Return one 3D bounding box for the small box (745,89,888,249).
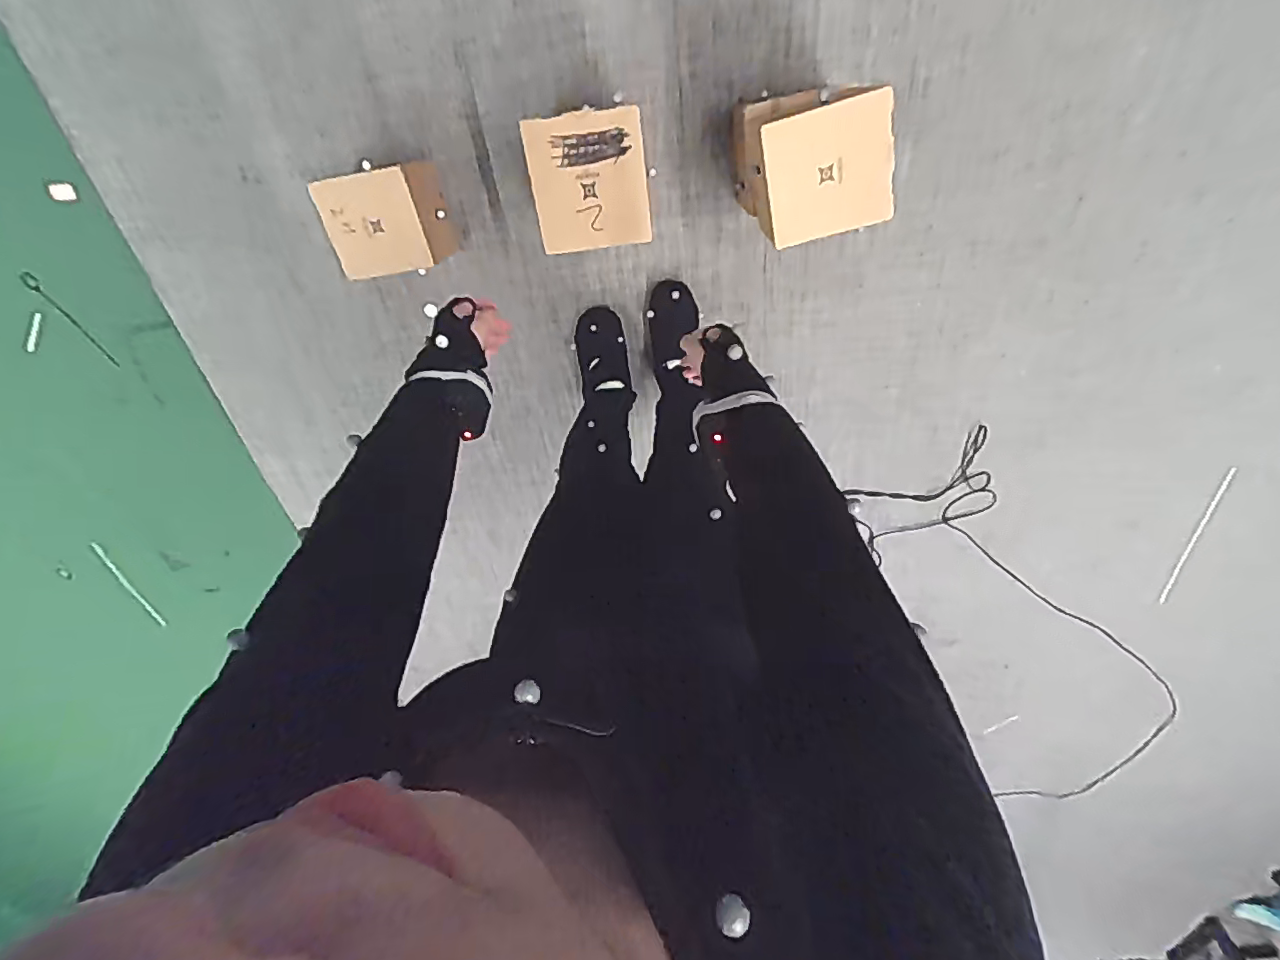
[{"bbox_3d":[0.262,-0.474,0.829,0.179,0.176,0.168,-12,123,9],"label":"small box"}]

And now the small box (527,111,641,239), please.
[{"bbox_3d":[-0.090,-0.556,0.982,0.168,0.176,0.179,-5,123,5],"label":"small box"}]

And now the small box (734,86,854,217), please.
[{"bbox_3d":[0.262,-0.578,0.955,0.179,0.176,0.168,-7,124,6],"label":"small box"}]

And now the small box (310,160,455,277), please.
[{"bbox_3d":[-0.472,-0.502,1.032,0.179,0.176,0.168,-6,123,6],"label":"small box"}]
